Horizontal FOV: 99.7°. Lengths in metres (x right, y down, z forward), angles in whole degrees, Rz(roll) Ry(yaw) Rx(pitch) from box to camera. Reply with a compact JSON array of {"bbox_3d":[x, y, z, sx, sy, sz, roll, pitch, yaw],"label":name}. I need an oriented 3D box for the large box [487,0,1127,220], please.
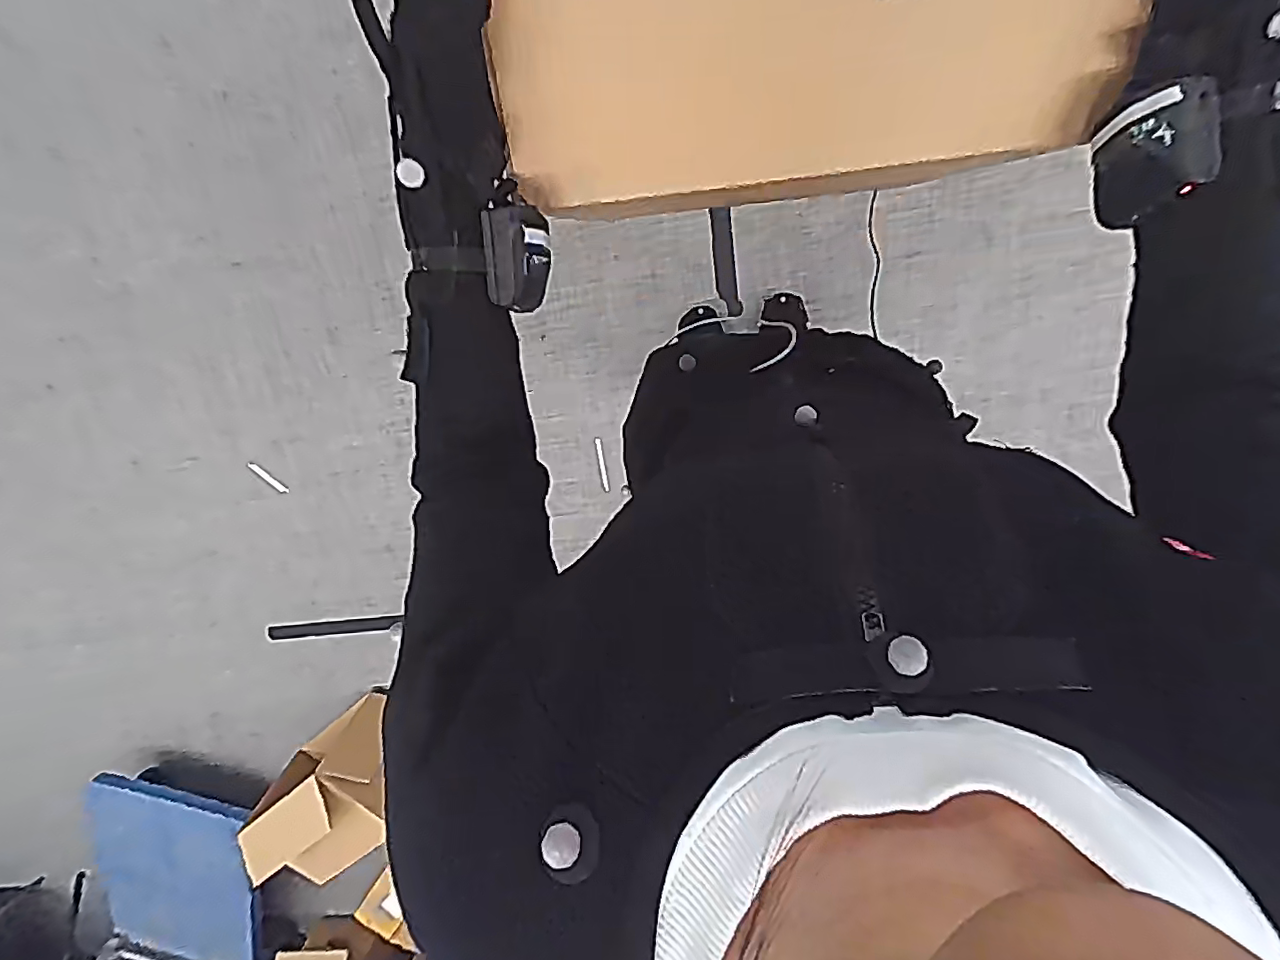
[{"bbox_3d":[0.098,-0.418,0.451,0.408,0.320,0.320,-5,114,5],"label":"large box"}]
